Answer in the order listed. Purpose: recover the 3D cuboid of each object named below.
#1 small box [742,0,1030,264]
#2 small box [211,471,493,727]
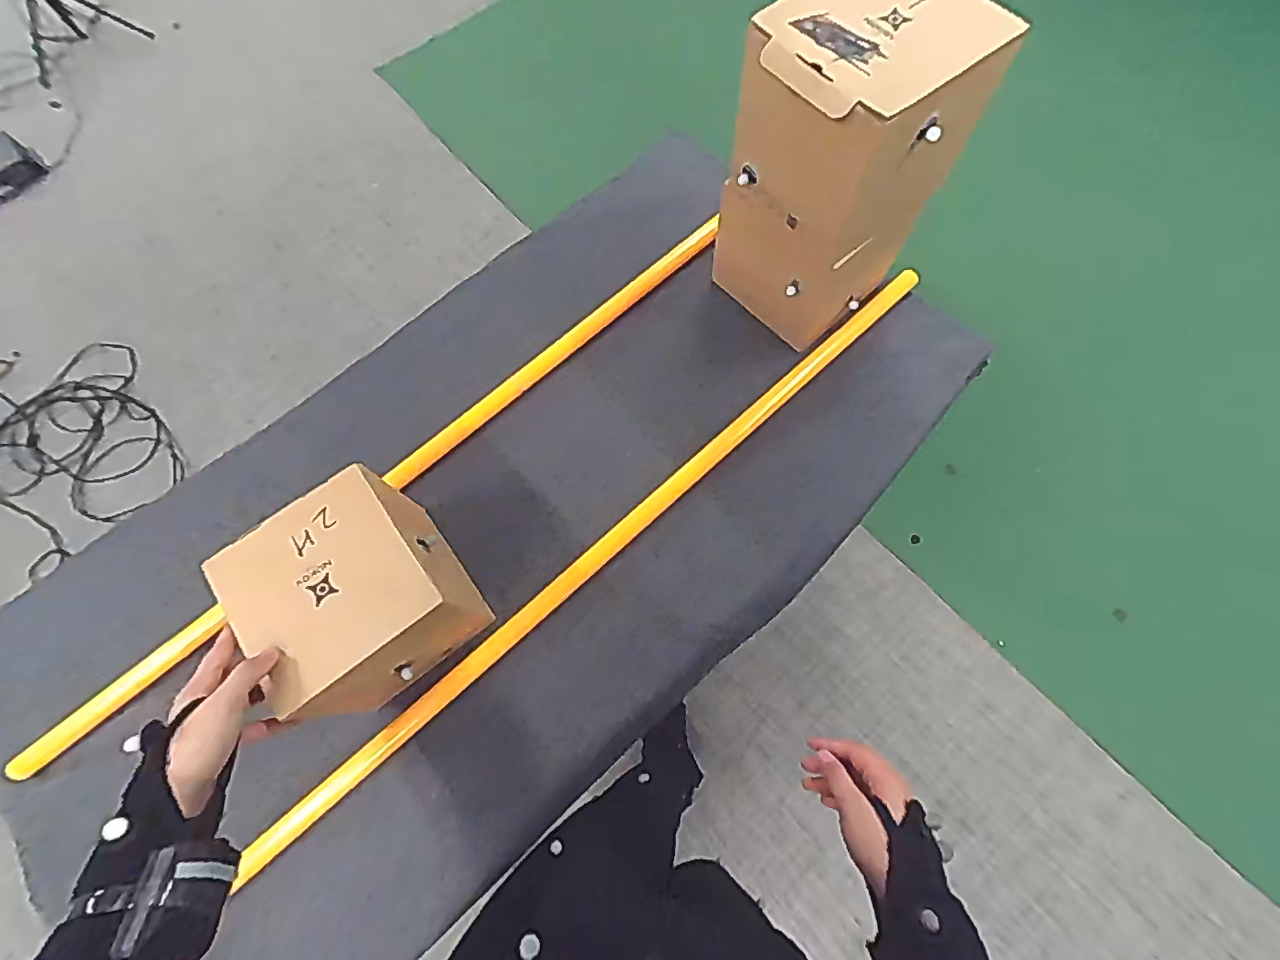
[{"bbox_3d":[0.219,-0.357,0.540,0.179,0.176,0.168,-36,73,-10],"label":"small box"},{"bbox_3d":[-0.281,0.126,0.567,0.168,0.176,0.179,-36,72,-11],"label":"small box"}]
